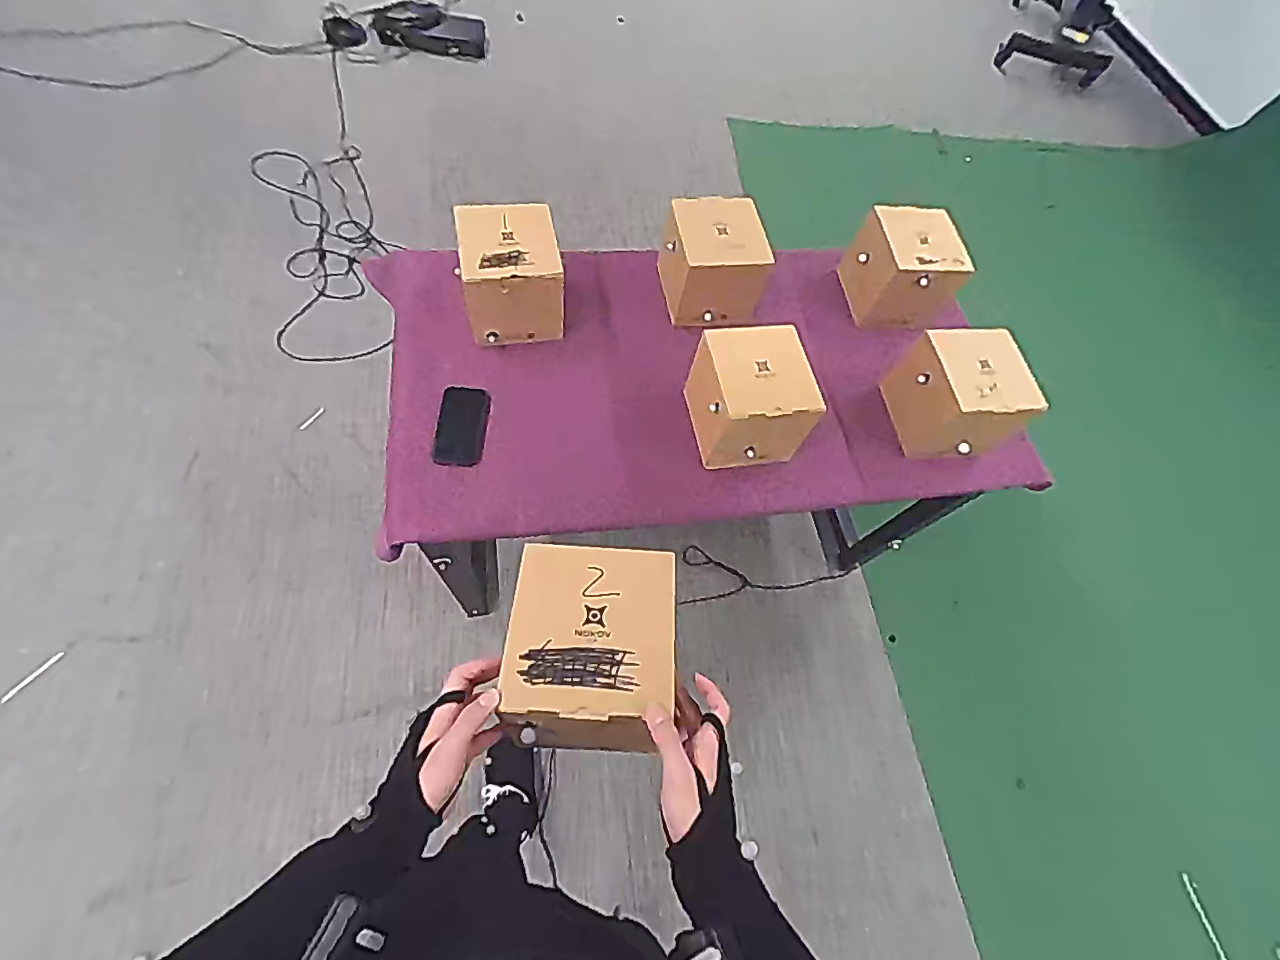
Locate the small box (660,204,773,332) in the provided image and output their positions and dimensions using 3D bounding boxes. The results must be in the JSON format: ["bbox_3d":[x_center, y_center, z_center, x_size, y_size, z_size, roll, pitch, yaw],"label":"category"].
[{"bbox_3d":[0.142,-0.419,1.078,0.168,0.176,0.179,-5,65,-10],"label":"small box"}]

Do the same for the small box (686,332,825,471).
[{"bbox_3d":[0.188,-0.135,0.943,0.168,0.176,0.179,-6,64,-12],"label":"small box"}]

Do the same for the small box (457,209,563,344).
[{"bbox_3d":[-0.233,-0.364,0.990,0.168,0.176,0.179,-8,65,-13],"label":"small box"}]

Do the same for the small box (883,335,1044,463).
[{"bbox_3d":[0.584,-0.147,1.005,0.168,0.176,0.179,-3,64,-9],"label":"small box"}]

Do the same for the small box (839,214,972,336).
[{"bbox_3d":[0.547,-0.430,1.145,0.168,0.176,0.179,-2,64,-9],"label":"small box"}]
